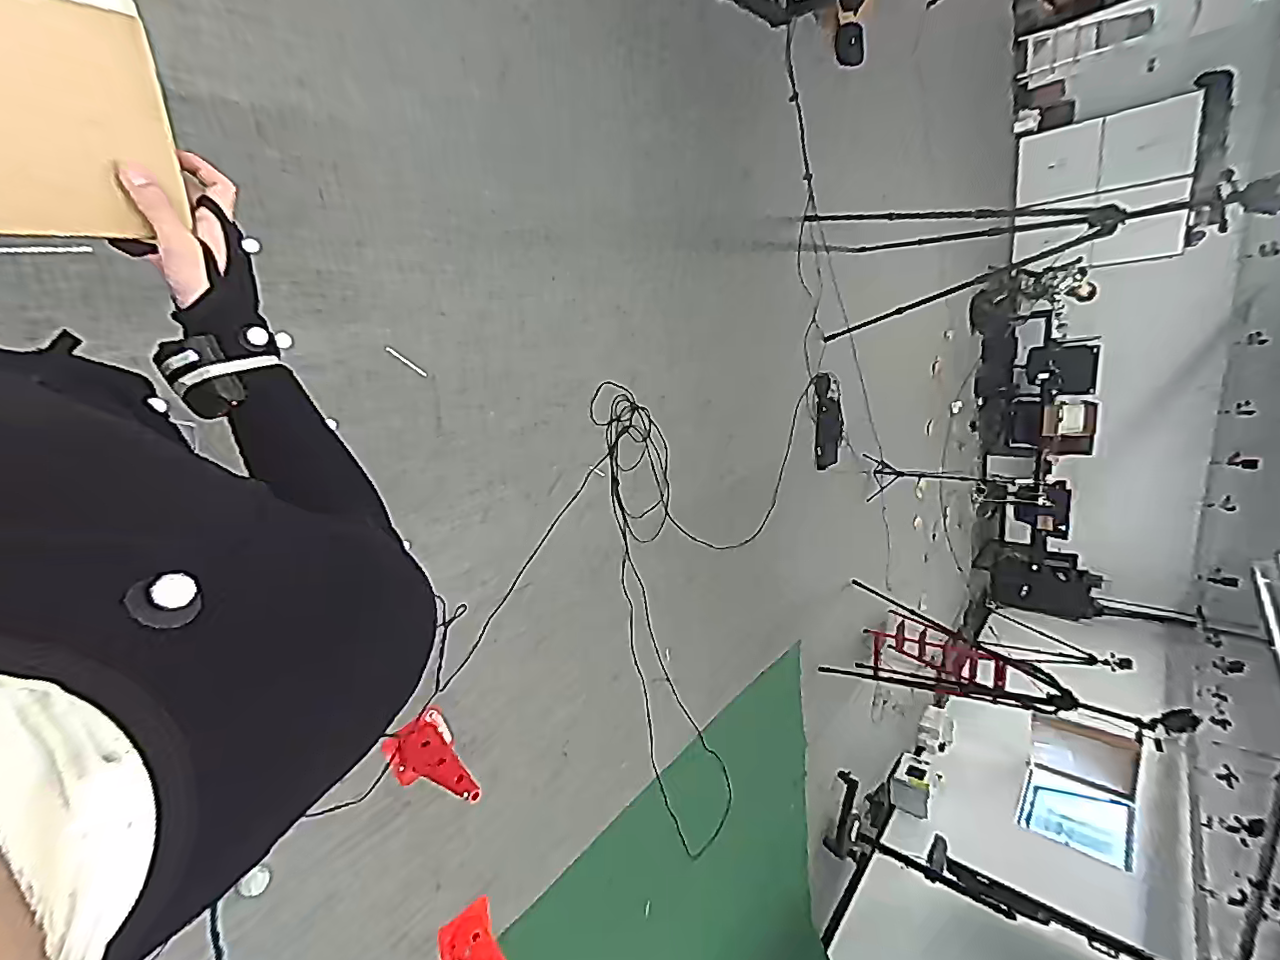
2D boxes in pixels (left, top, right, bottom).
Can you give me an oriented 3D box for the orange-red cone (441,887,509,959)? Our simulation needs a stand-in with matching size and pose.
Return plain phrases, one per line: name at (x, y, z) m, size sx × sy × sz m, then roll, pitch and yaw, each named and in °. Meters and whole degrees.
orange-red cone at (-0.521, 1.674, 1.907) m, size 0.199 × 0.360 × 0.198 m, roll -13°, pitch 106°, yaw -48°
